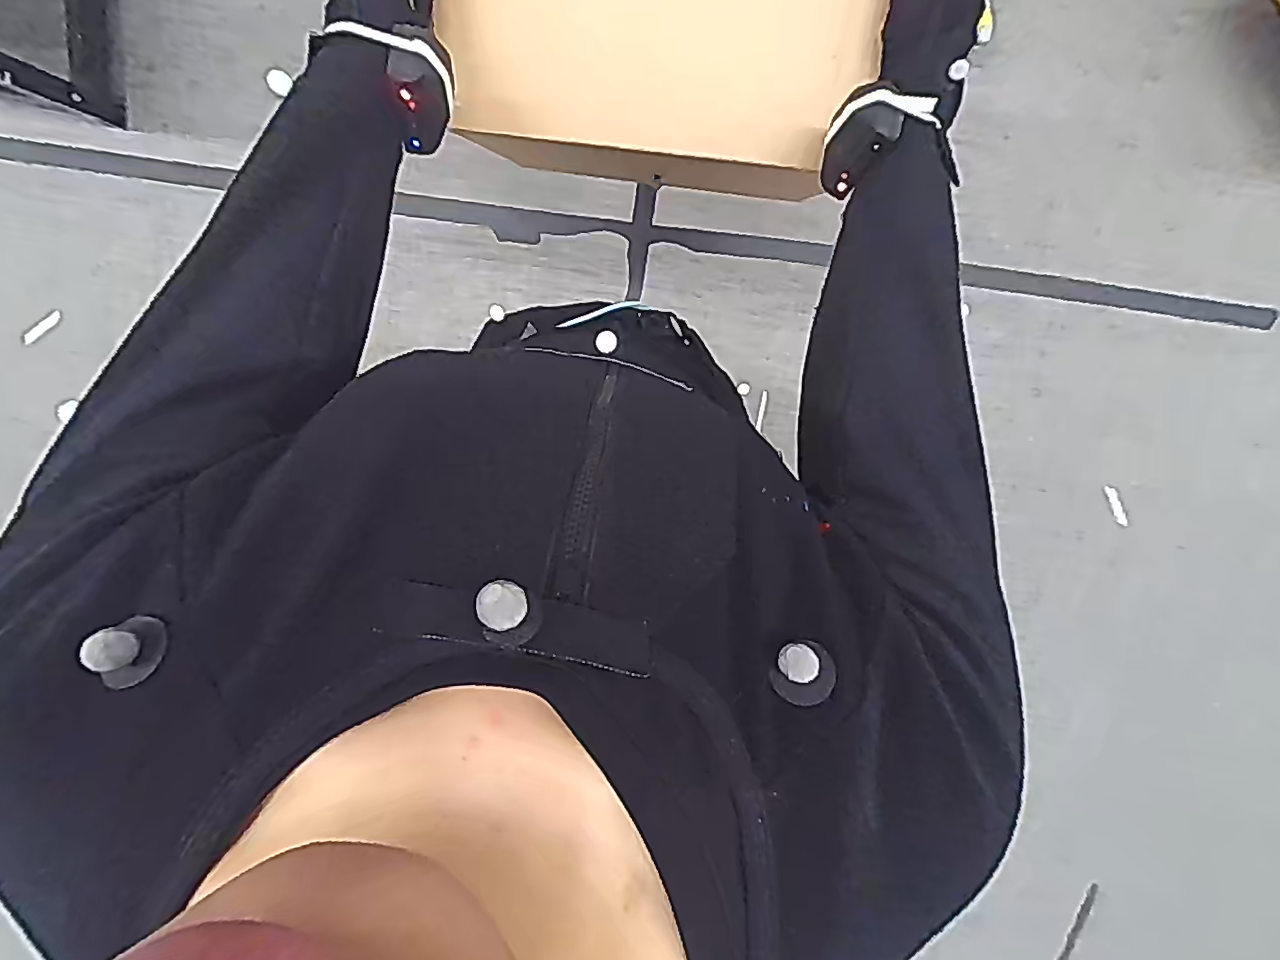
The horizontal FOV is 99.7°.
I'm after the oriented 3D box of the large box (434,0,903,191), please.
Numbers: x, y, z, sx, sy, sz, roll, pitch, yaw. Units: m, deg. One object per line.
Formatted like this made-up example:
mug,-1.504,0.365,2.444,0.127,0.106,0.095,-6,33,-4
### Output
large box,0.036,-0.505,0.575,0.408,0.320,0.320,7,113,1
